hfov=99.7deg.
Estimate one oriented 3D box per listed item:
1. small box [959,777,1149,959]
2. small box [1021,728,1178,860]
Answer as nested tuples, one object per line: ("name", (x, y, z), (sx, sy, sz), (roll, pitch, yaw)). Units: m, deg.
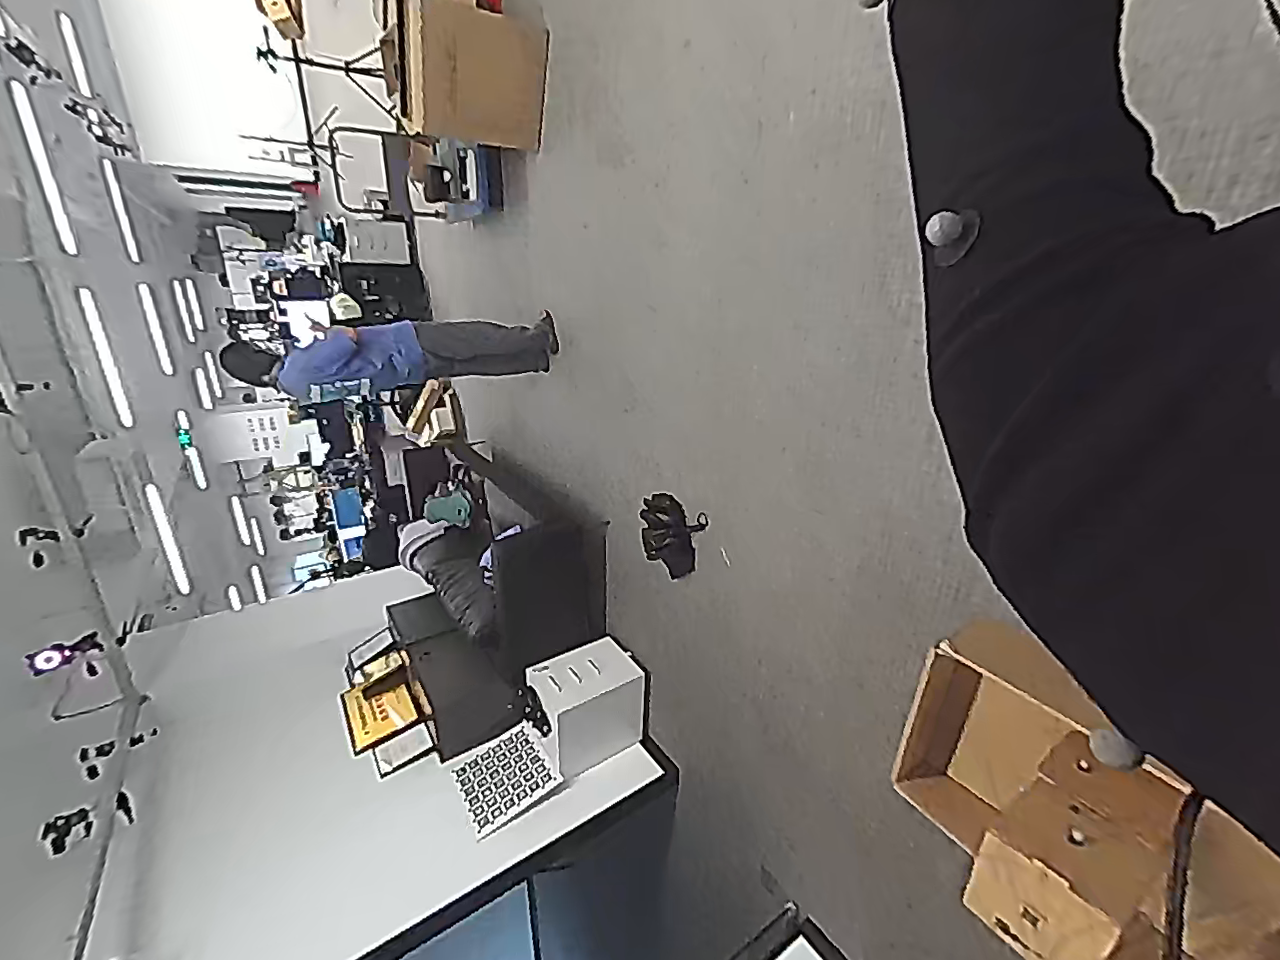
("small box", (0.633, 0.604, 0.829), (0.168, 0.176, 0.179), (30, 125, 51))
("small box", (0.764, 0.566, 0.920), (0.168, 0.176, 0.179), (29, 127, 51))
